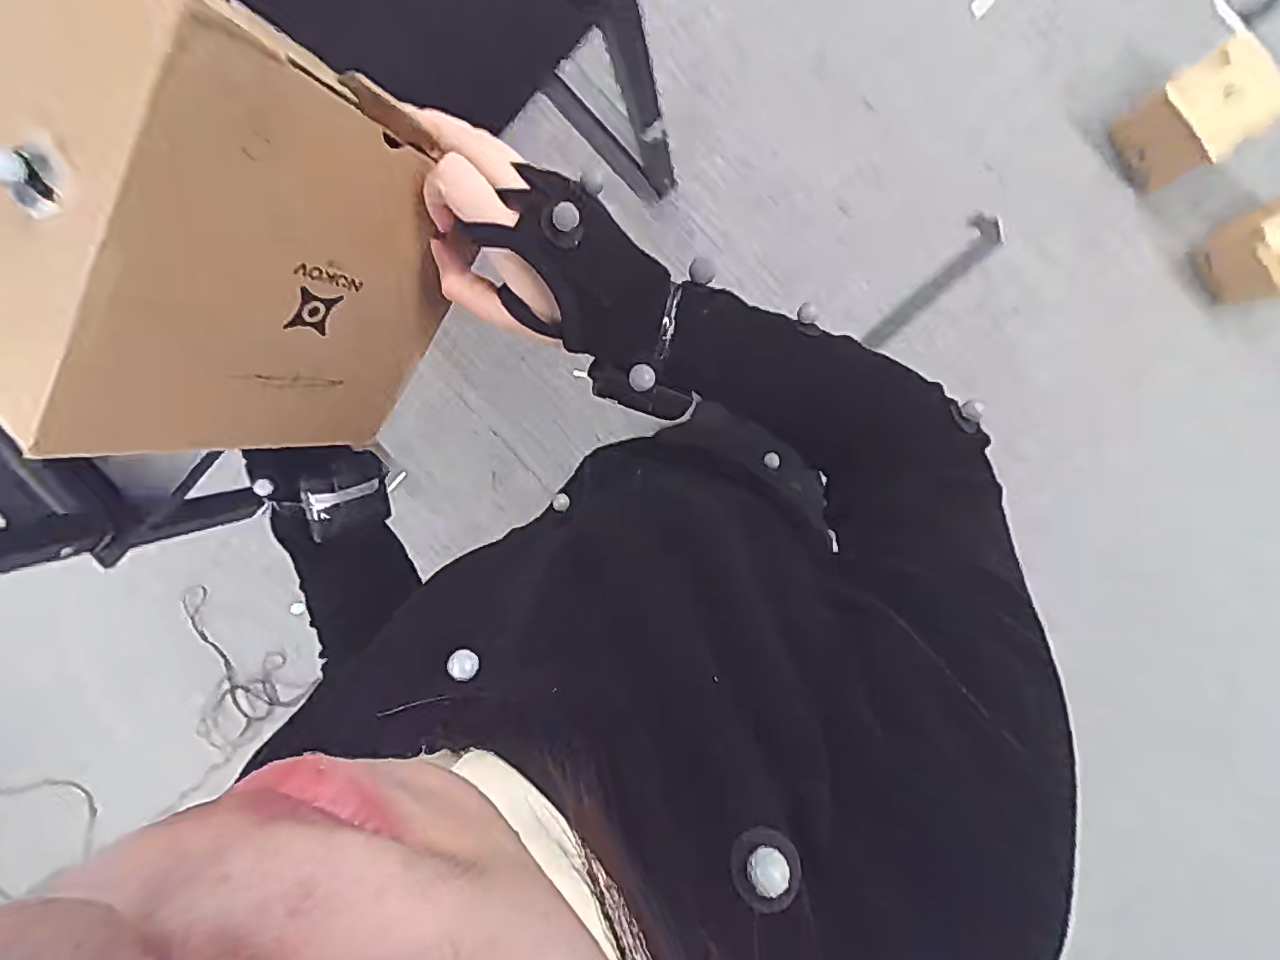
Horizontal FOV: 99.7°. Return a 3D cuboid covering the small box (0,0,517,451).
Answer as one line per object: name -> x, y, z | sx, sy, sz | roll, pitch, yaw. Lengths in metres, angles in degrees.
small box -> -0.203, -0.134, 0.269 | 0.176, 0.168, 0.179 | 40, 105, 12

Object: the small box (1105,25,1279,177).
small box -> 1.146, -0.770, 1.129 | 0.168, 0.176, 0.179 | -38, 93, 11

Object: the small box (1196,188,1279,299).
small box -> 1.352, -0.510, 1.142 | 0.179, 0.176, 0.168 | -37, 93, 10
